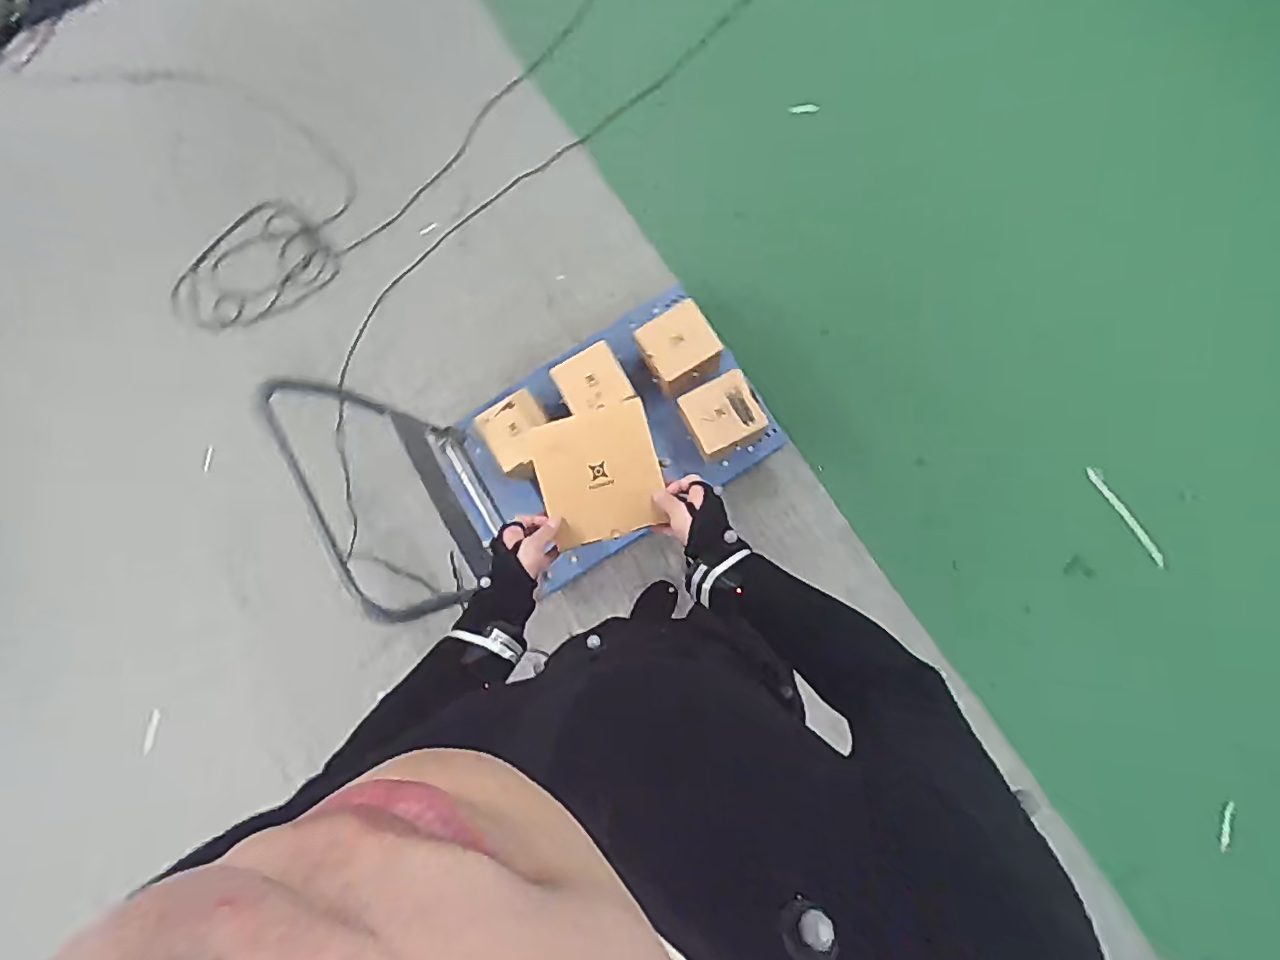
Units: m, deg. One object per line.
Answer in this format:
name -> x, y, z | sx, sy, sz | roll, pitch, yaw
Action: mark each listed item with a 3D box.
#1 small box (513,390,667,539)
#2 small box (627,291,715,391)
small box -> -0.065, -0.023, 0.811 | 0.179, 0.176, 0.168 | 17, 93, 2
small box -> 0.087, -0.366, 1.456 | 0.179, 0.176, 0.168 | -31, 81, 1
